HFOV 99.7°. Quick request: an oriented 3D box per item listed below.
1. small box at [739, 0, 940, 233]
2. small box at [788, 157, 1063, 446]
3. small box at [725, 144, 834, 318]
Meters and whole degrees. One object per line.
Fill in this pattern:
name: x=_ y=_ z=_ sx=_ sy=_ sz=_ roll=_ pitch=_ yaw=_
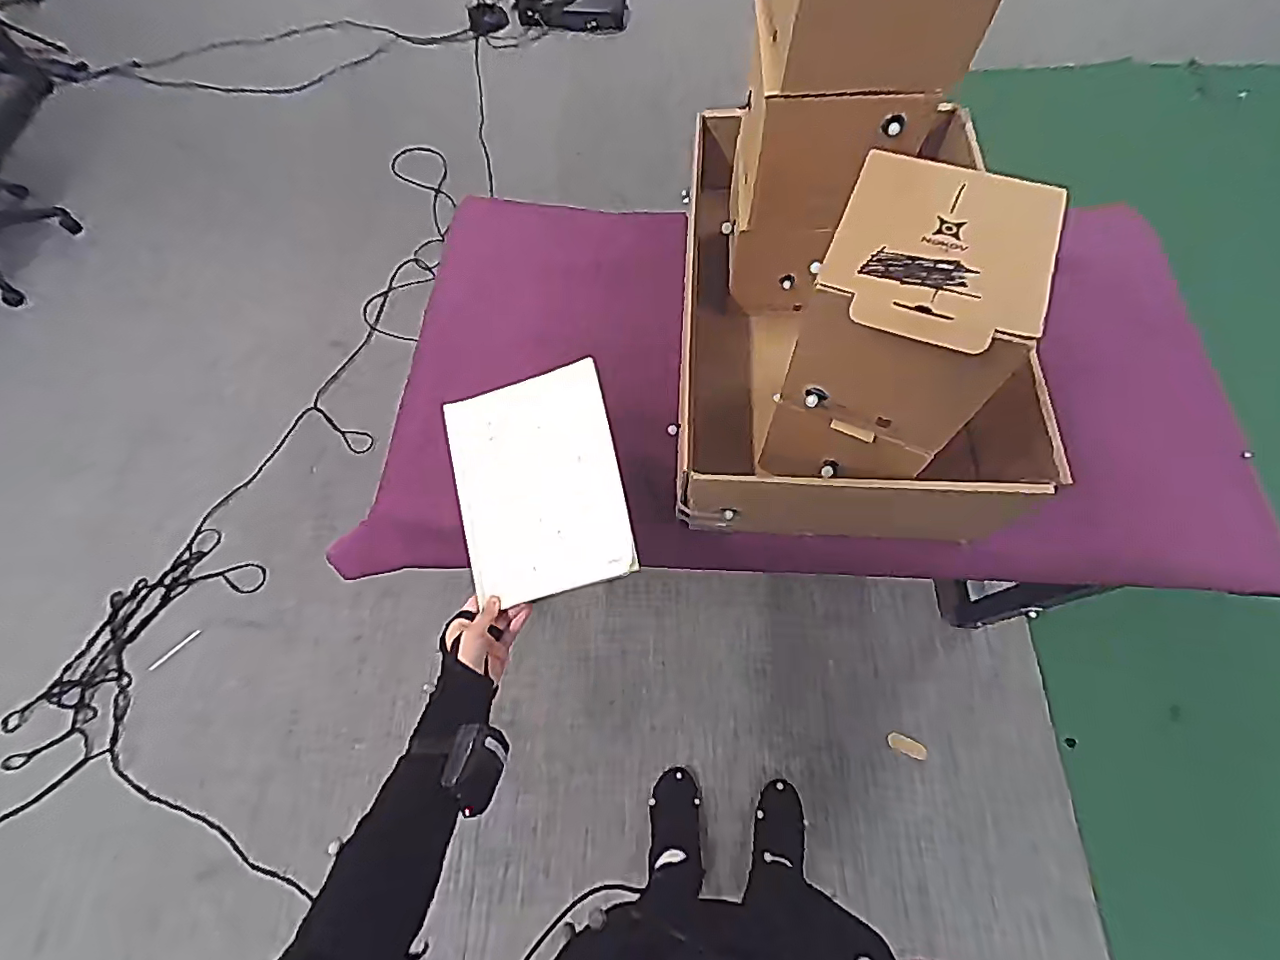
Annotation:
small box: x=0.211 y=-0.411 z=0.632 sx=0.179 sy=0.176 sz=0.168 roll=0 pitch=67 yaw=3
small box: x=0.250 y=-0.159 z=0.510 sx=0.168 sy=0.176 sz=0.179 roll=21 pitch=67 yaw=14
small box: x=0.215 y=-0.351 z=0.782 sx=0.168 sy=0.176 sz=0.179 roll=2 pitch=68 yaw=4
